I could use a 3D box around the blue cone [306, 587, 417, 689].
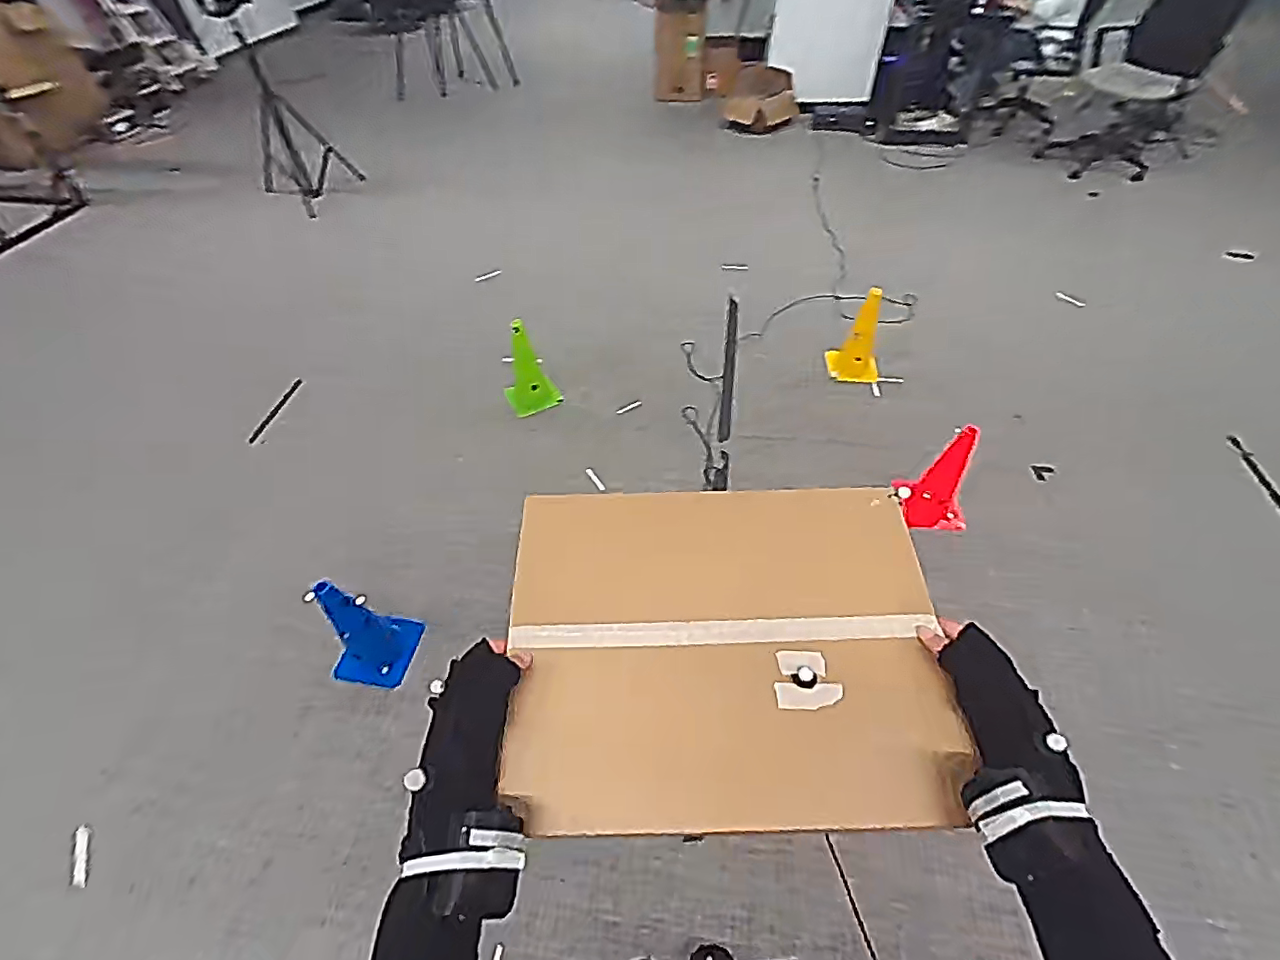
[{"bbox_3d":[-0.759,0.391,1.427,0.192,0.380,0.193,6,50,9],"label":"blue cone"}]

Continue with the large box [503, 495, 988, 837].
[{"bbox_3d":[0.083,0.231,0.640,0.408,0.320,0.320,-1,57,0],"label":"large box"}]

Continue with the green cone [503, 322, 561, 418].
[{"bbox_3d":[-0.459,-0.456,2.115,0.202,0.368,0.200,-26,52,-16],"label":"green cone"}]

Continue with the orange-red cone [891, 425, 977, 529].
[{"bbox_3d":[0.959,-0.033,1.696,0.198,0.360,0.199,3,48,4],"label":"orange-red cone"}]
